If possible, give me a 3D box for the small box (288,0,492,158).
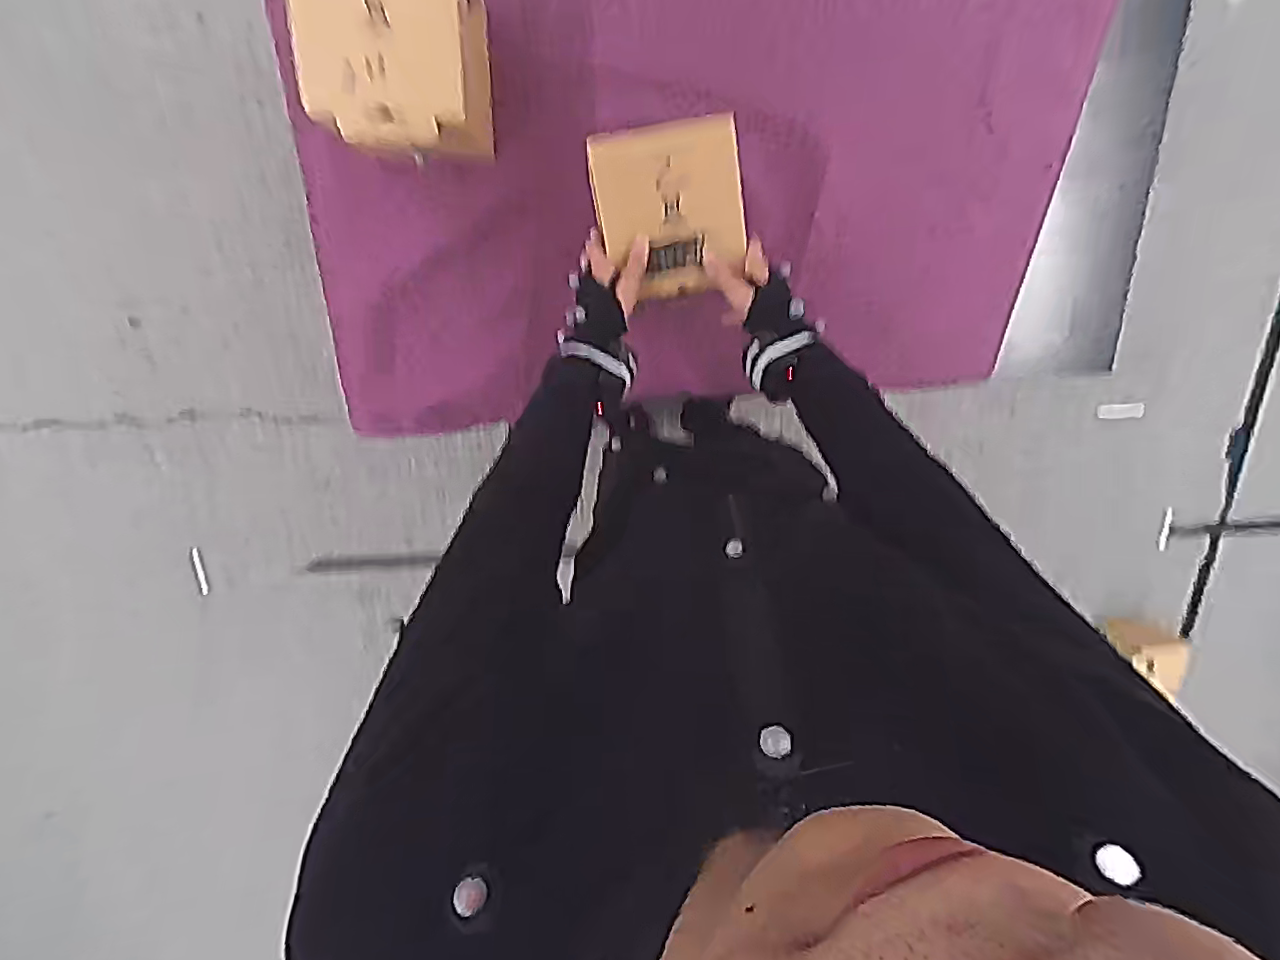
[{"bbox_3d":[-0.269,-0.488,0.613,0.168,0.176,0.179,0,109,-4],"label":"small box"}]
